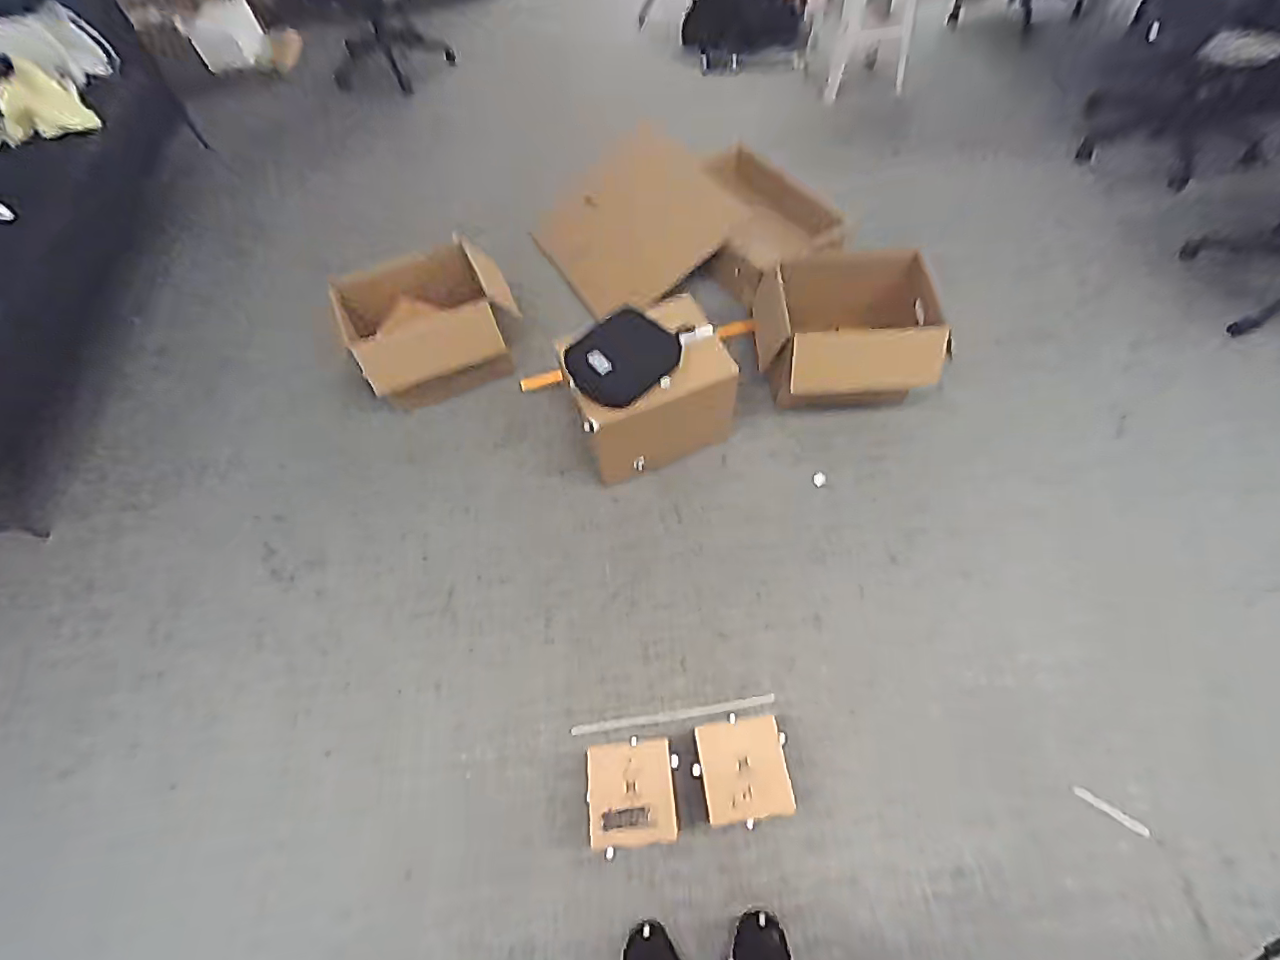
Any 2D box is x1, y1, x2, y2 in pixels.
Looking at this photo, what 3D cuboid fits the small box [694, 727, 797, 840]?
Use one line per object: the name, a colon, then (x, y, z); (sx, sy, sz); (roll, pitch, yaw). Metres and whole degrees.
small box: (0.205, 0.623, 1.109); (0.168, 0.176, 0.179); (-9, 59, 0)
